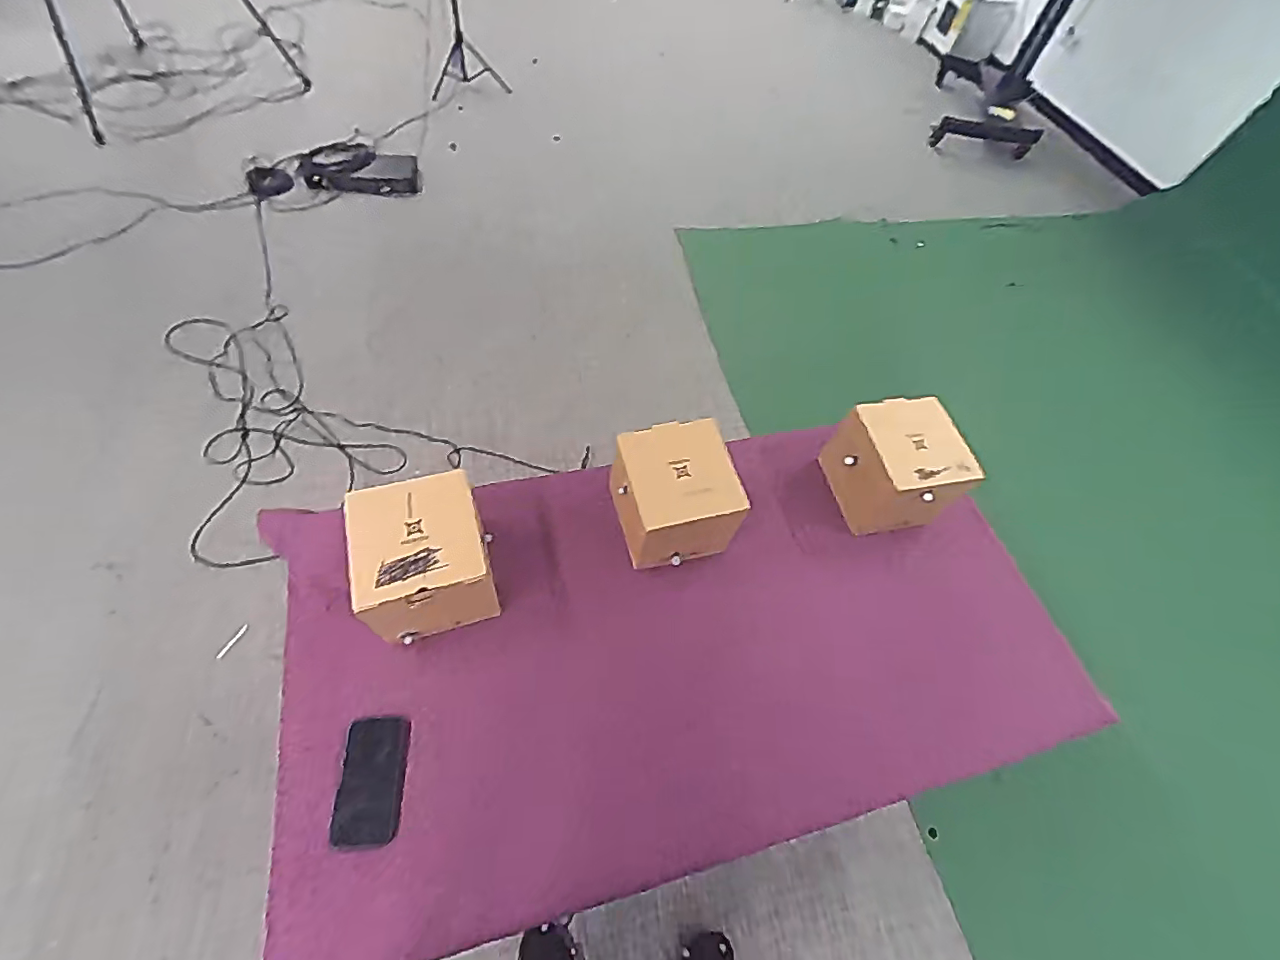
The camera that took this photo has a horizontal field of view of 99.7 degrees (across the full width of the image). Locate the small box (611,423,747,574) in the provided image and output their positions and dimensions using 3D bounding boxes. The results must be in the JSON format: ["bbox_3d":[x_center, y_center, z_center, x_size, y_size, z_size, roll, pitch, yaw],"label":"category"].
[{"bbox_3d":[0.052,0.033,0.893,0.168,0.176,0.179,-10,61,-13],"label":"small box"}]

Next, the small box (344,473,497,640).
[{"bbox_3d":[-0.312,0.118,0.788,0.168,0.176,0.179,-13,60,-16],"label":"small box"}]

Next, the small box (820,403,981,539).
[{"bbox_3d":[0.453,-0.014,0.974,0.168,0.176,0.179,-8,59,-11],"label":"small box"}]
